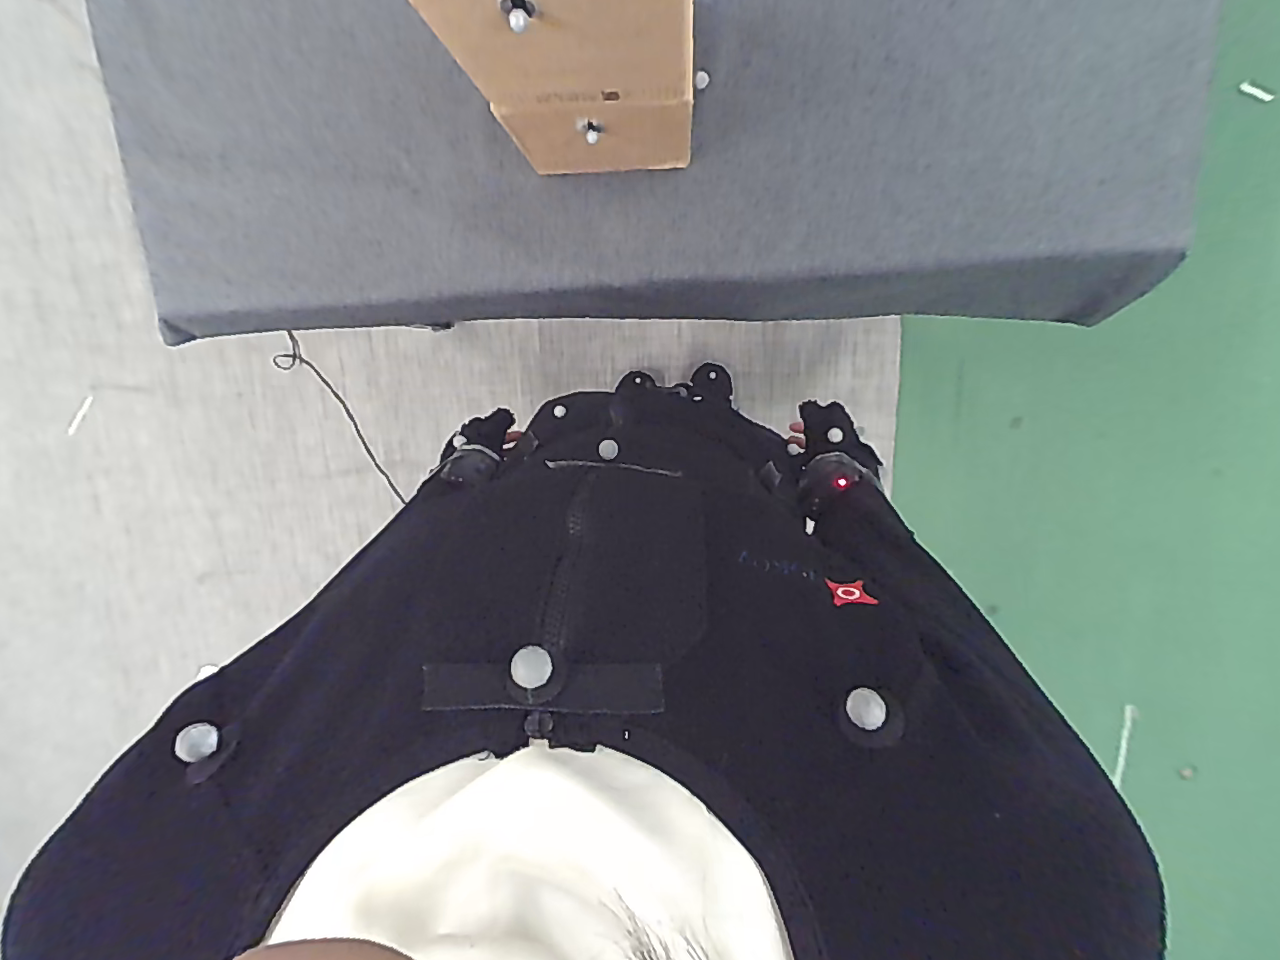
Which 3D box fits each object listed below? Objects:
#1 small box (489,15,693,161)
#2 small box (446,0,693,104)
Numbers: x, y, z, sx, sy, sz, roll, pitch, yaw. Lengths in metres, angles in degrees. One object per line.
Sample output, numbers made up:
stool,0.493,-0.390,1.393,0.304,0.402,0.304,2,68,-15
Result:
small box,-0.038,-0.426,0.522,0.179,0.176,0.168,0,103,4
small box,-0.049,-0.393,0.365,0.168,0.176,0.179,-2,104,4
